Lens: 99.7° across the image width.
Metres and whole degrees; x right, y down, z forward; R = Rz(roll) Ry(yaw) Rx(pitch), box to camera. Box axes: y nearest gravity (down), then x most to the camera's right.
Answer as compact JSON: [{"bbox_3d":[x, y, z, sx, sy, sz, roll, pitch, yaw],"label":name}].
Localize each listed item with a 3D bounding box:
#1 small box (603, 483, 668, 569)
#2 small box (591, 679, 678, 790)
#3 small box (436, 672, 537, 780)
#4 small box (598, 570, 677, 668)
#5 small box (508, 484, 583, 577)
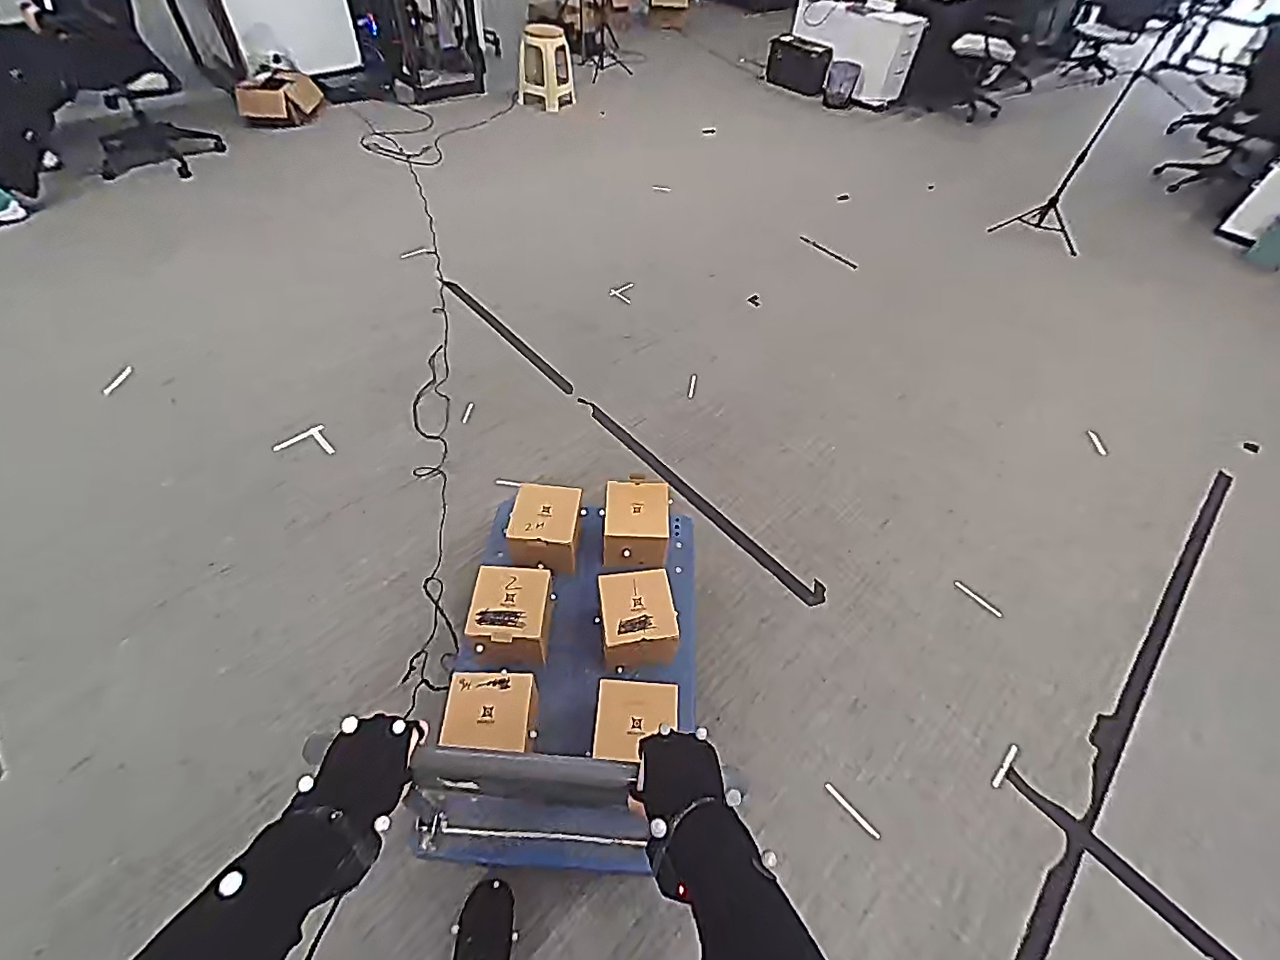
[{"bbox_3d":[-0.013,0.128,1.476,0.168,0.176,0.179,2,51,-3],"label":"small box"},{"bbox_3d":[-0.012,0.543,1.144,0.168,0.176,0.179,6,50,-1],"label":"small box"},{"bbox_3d":[-0.309,0.519,1.133,0.168,0.176,0.179,3,52,-4],"label":"small box"},{"bbox_3d":[-0.011,0.341,1.305,0.168,0.176,0.179,-4,51,-9],"label":"small box"},{"bbox_3d":[-0.246,0.136,1.446,0.168,0.176,0.179,6,52,0],"label":"small box"}]
